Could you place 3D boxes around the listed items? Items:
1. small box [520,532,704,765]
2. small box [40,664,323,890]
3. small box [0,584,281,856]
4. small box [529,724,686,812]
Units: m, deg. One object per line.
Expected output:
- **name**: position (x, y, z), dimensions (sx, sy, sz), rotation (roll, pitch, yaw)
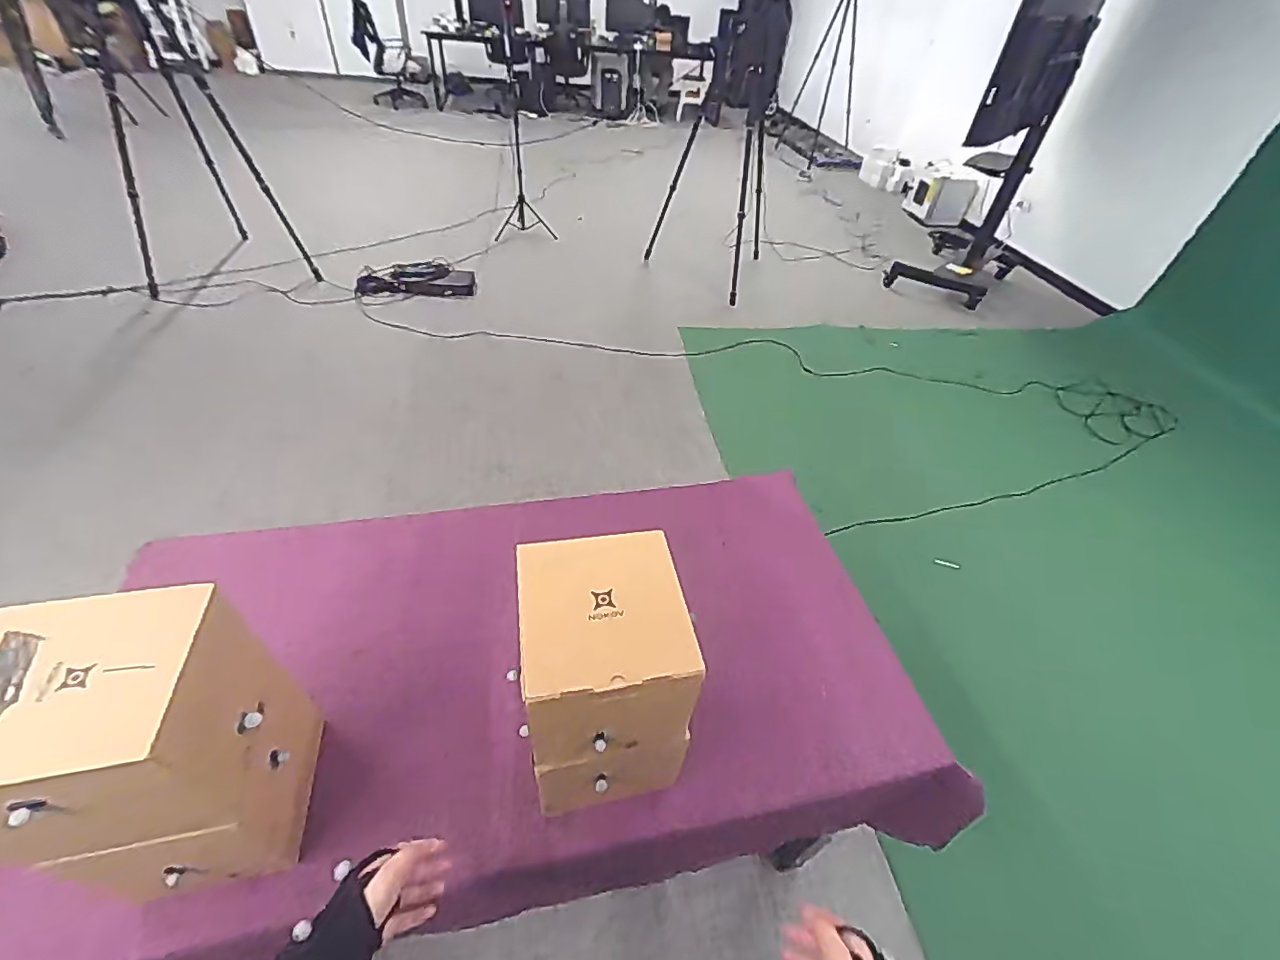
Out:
- **small box**: position (-0.043, 0.182, 0.594), dimensions (0.168, 0.176, 0.179), rotation (-5, 45, -12)
- **small box**: position (-0.488, 0.340, 0.617), dimensions (0.168, 0.176, 0.179), rotation (-5, 44, -12)
- **small box**: position (-0.477, 0.222, 0.503), dimensions (0.179, 0.176, 0.168), rotation (-5, 45, -13)
- **small box**: position (-0.051, 0.304, 0.702), dimensions (0.179, 0.176, 0.168), rotation (-6, 45, -12)
